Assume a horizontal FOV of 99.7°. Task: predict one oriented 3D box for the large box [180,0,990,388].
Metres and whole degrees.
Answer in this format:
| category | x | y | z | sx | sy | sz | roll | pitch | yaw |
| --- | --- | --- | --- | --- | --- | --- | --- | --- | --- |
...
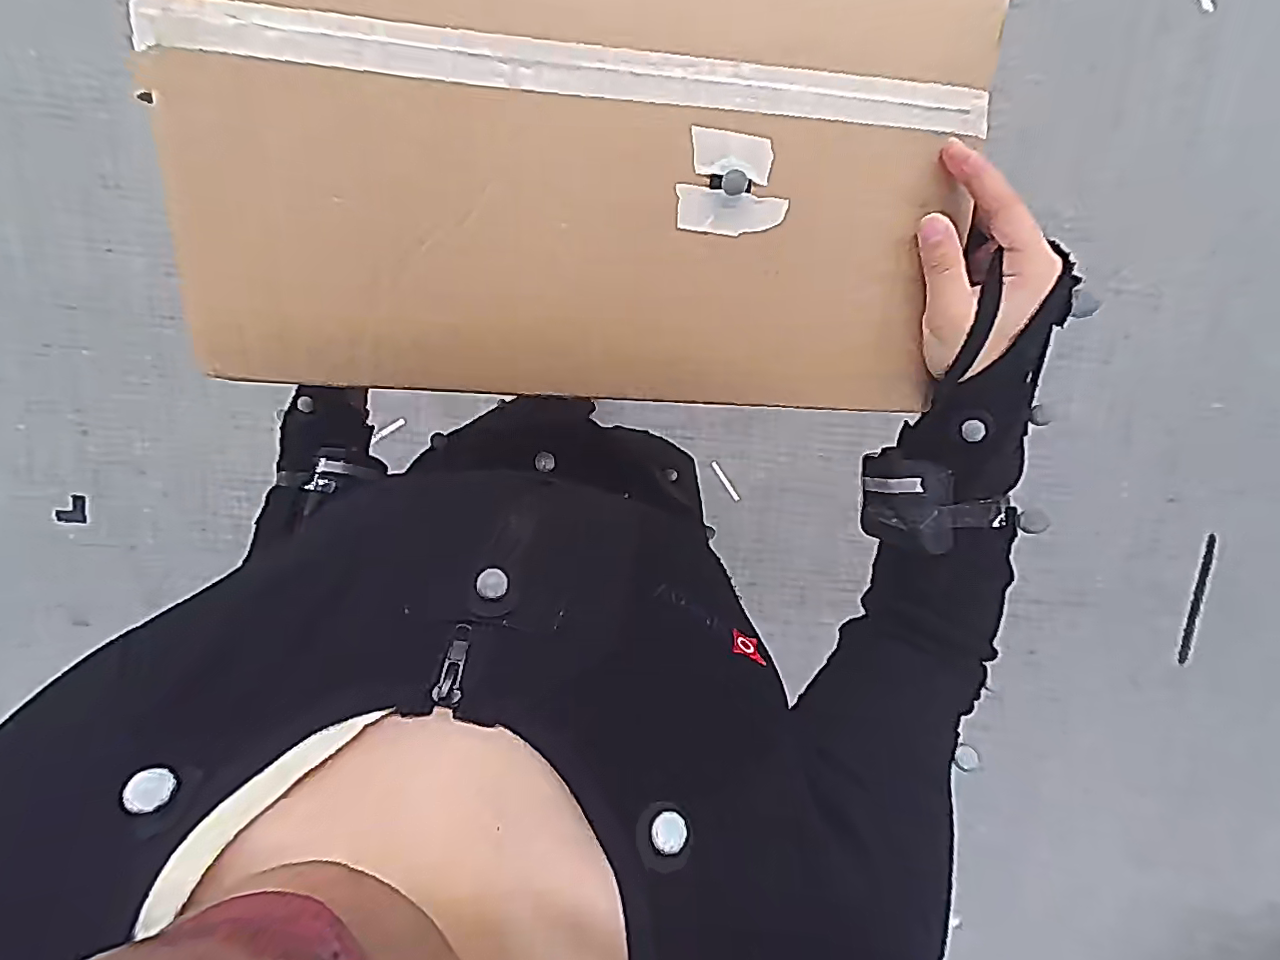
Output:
| category | x | y | z | sx | sy | sz | roll | pitch | yaw |
| --- | --- | --- | --- | --- | --- | --- | --- | --- | --- |
| large box | -0.035 | -0.243 | 0.417 | 0.408 | 0.320 | 0.320 | 1 | 106 | -8 |
